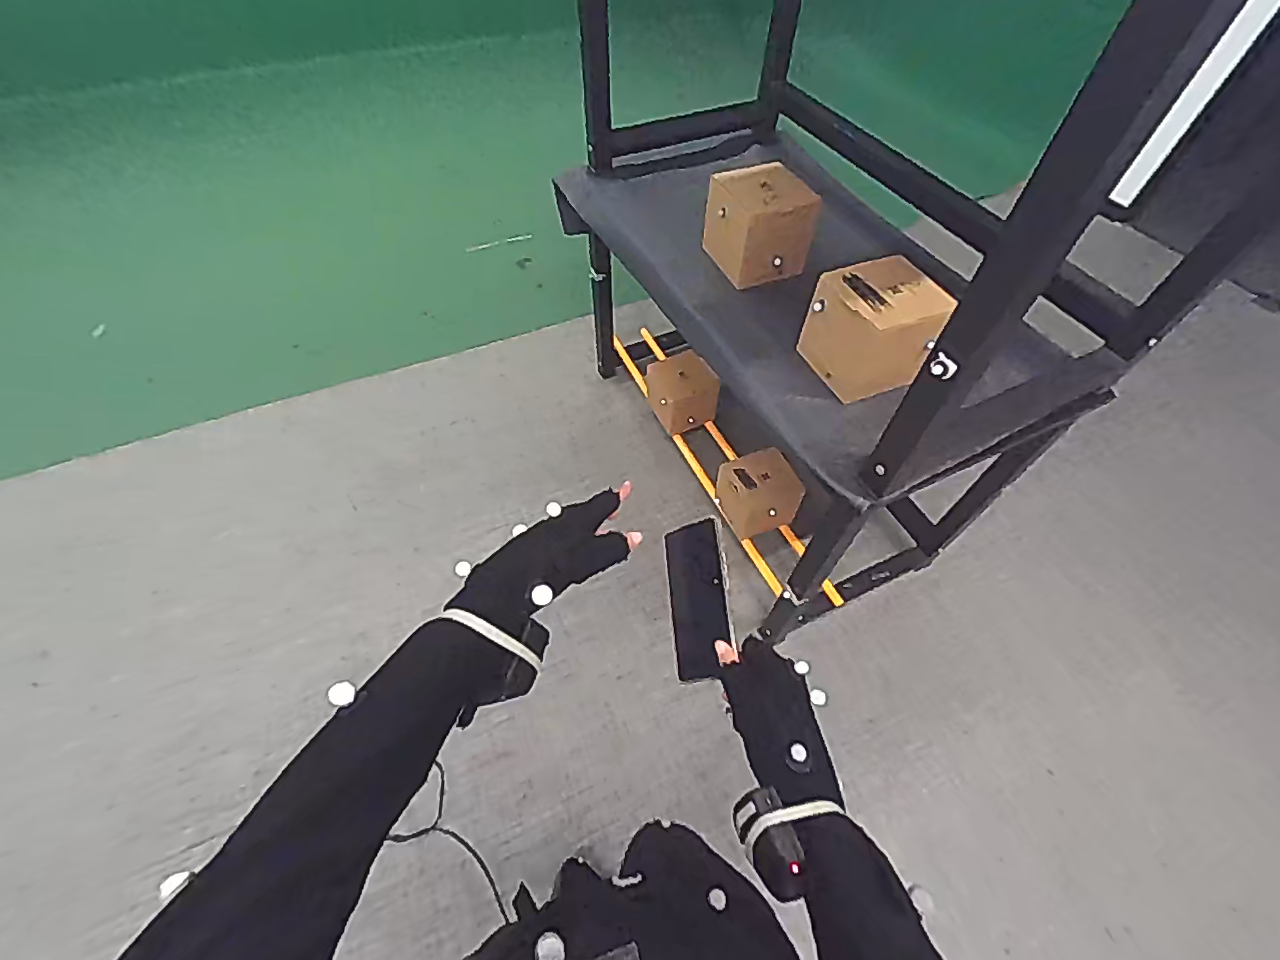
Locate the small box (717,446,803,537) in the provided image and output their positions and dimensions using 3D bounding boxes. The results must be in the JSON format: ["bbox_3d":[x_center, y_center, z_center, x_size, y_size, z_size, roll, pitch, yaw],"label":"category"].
[{"bbox_3d":[0.326,0.037,1.520,0.179,0.176,0.168,-18,57,-13],"label":"small box"}]

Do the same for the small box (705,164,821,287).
[{"bbox_3d":[0.253,-0.549,1.170,0.168,0.176,0.179,-18,57,-13],"label":"small box"}]
